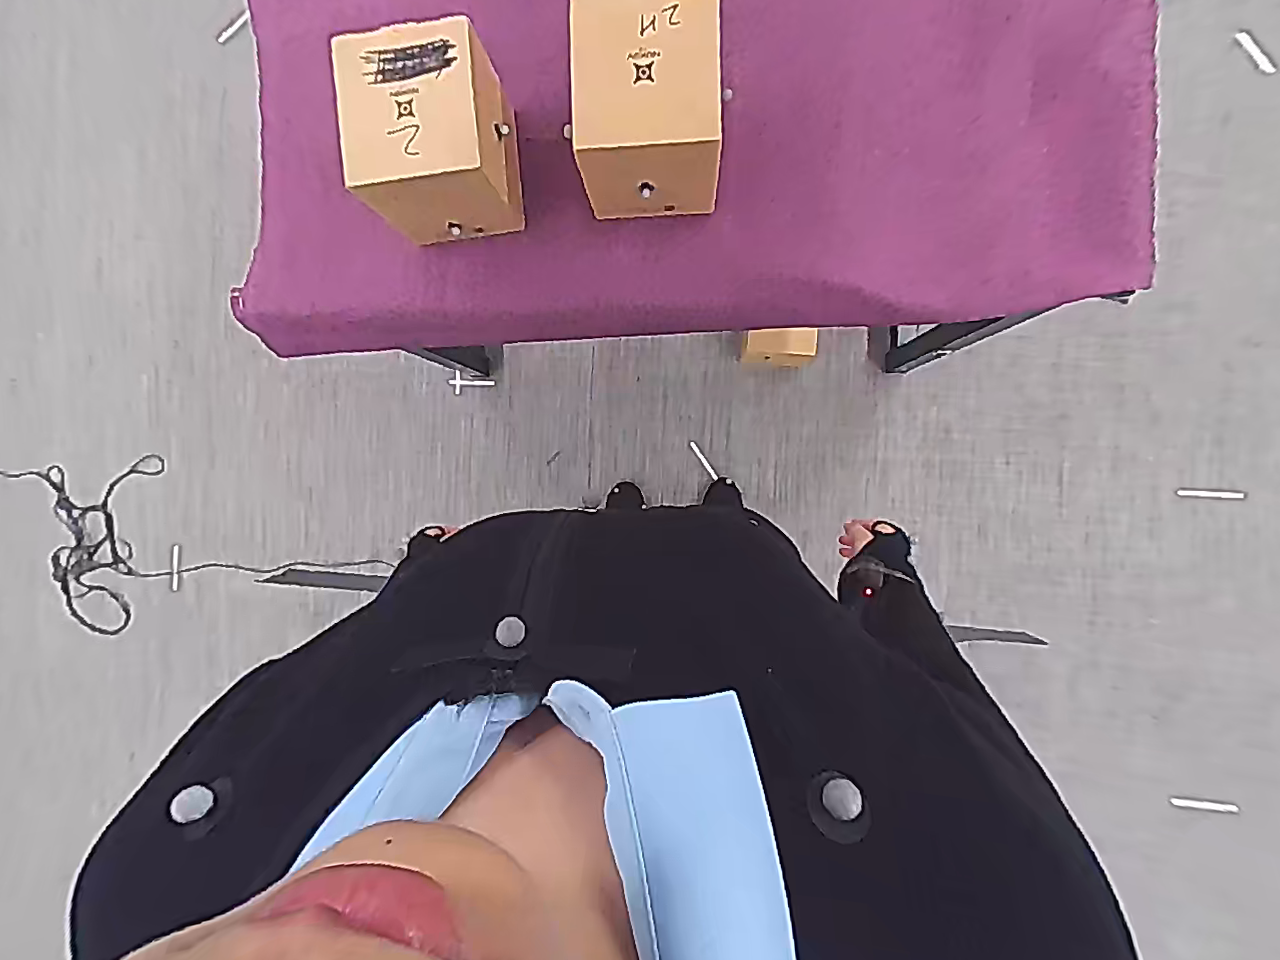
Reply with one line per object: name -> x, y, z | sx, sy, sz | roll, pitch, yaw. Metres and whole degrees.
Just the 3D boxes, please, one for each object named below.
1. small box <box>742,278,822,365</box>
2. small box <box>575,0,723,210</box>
small box -> 0.354, -0.396, 1.379 | 0.168, 0.176, 0.179 | 6, 92, 5
small box -> 0.016, -0.456, 0.672 | 0.168, 0.176, 0.179 | 0, 90, 4
